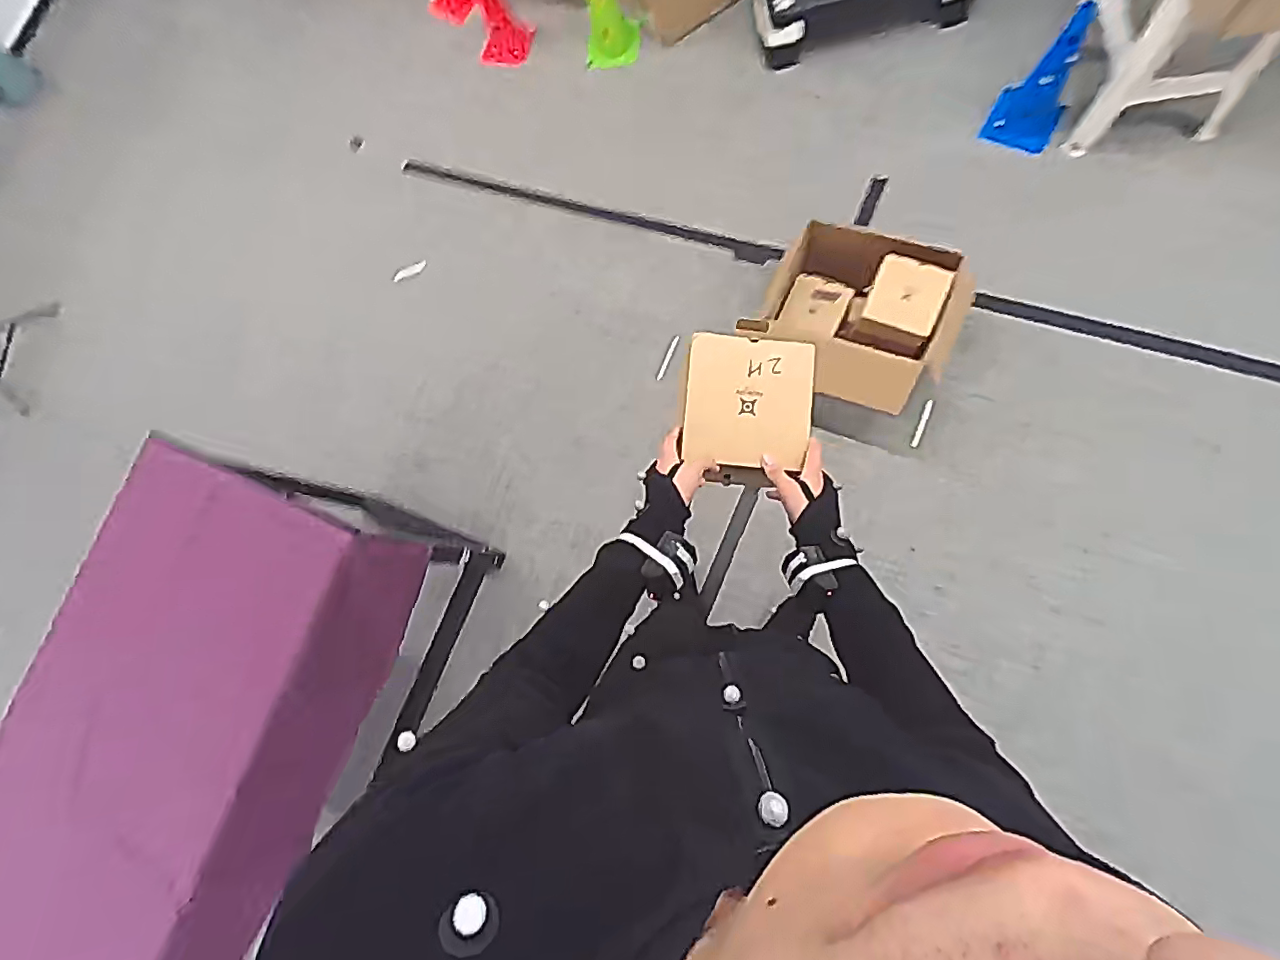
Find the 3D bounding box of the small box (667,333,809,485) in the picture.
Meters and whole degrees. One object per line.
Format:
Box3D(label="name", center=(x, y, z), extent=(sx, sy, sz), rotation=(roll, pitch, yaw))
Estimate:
Box3D(label="small box", center=(0.132, -0.092, 0.787), extent=(0.168, 0.176, 0.179), rotation=(6, 82, -2))
